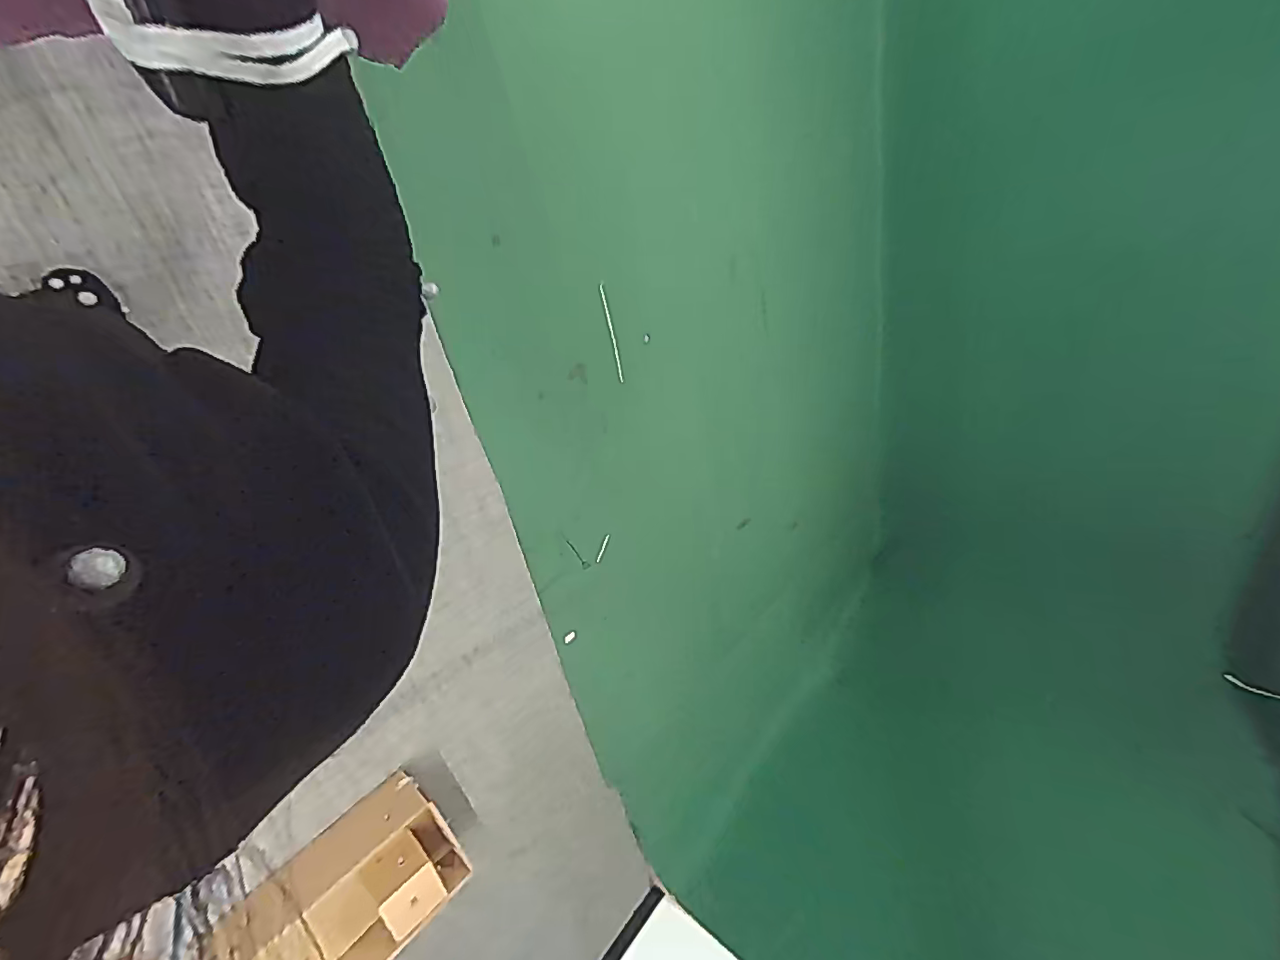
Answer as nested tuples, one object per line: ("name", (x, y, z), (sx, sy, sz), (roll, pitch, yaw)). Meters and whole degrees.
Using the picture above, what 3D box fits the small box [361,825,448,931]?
("small box", (-0.727, 1.211, 1.662), (0.168, 0.176, 0.179), (-31, 122, -37))
